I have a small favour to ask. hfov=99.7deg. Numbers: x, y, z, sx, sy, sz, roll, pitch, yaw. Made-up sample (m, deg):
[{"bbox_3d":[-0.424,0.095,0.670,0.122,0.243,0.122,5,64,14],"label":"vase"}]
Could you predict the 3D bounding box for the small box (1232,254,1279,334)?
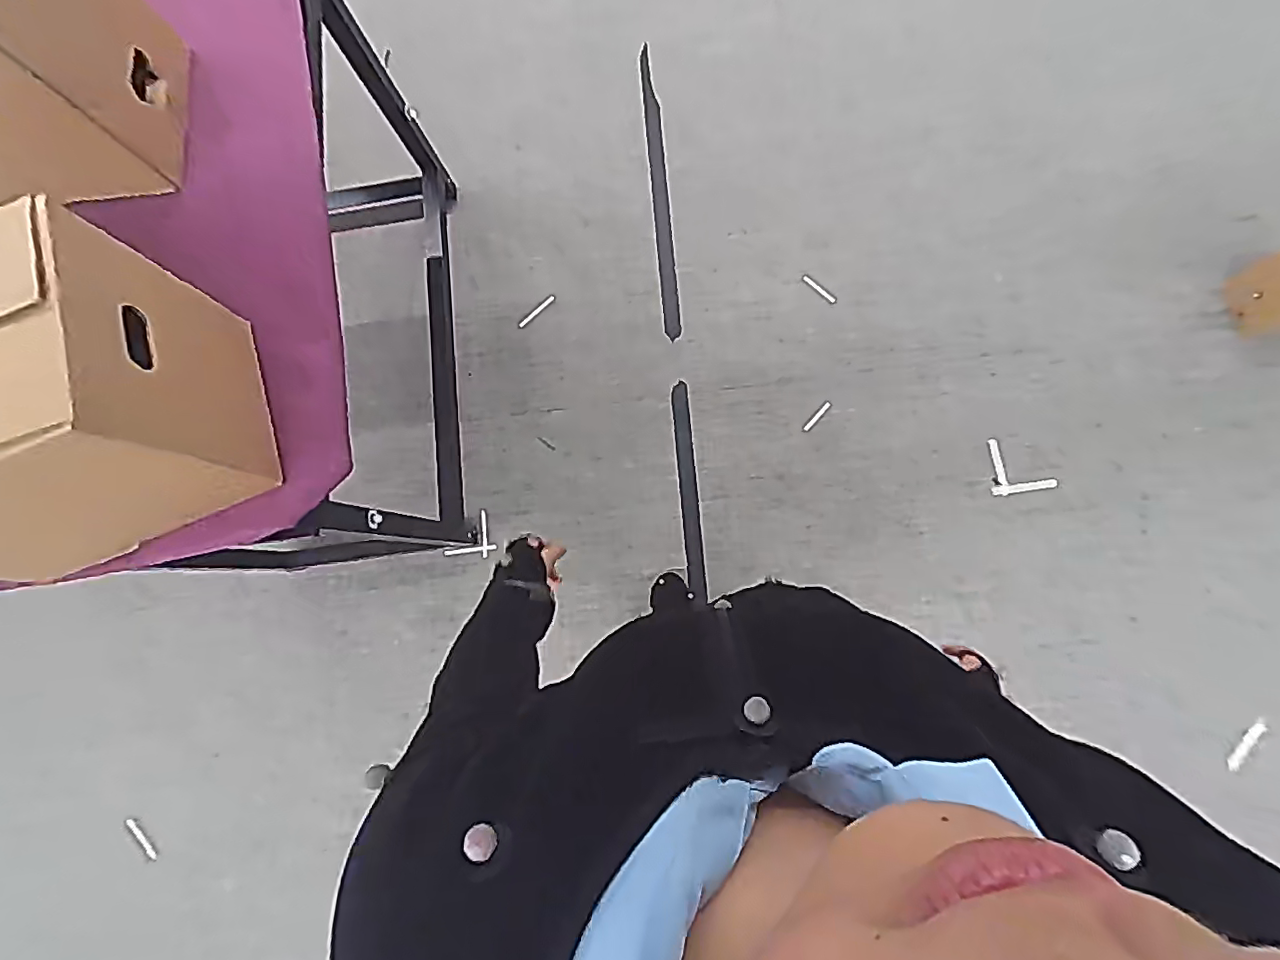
[{"bbox_3d":[1.737,-0.501,1.426,0.179,0.176,0.168,-8,80,3],"label":"small box"}]
